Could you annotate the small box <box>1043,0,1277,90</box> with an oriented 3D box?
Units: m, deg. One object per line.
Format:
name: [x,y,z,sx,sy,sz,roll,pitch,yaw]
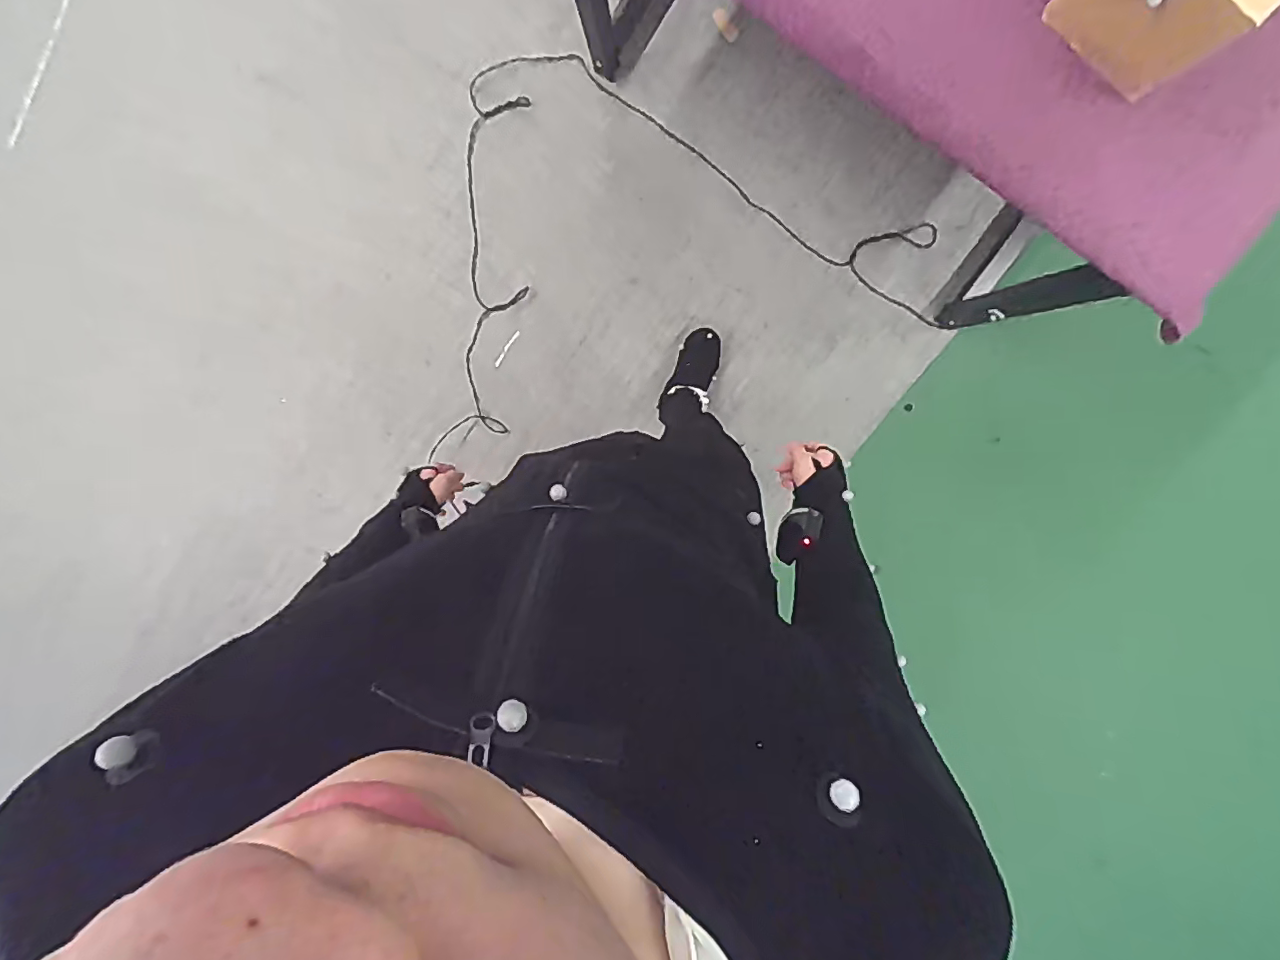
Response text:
small box: [0.651,-0.617,0.646,0.179,0.176,0.168,40,101,-3]
